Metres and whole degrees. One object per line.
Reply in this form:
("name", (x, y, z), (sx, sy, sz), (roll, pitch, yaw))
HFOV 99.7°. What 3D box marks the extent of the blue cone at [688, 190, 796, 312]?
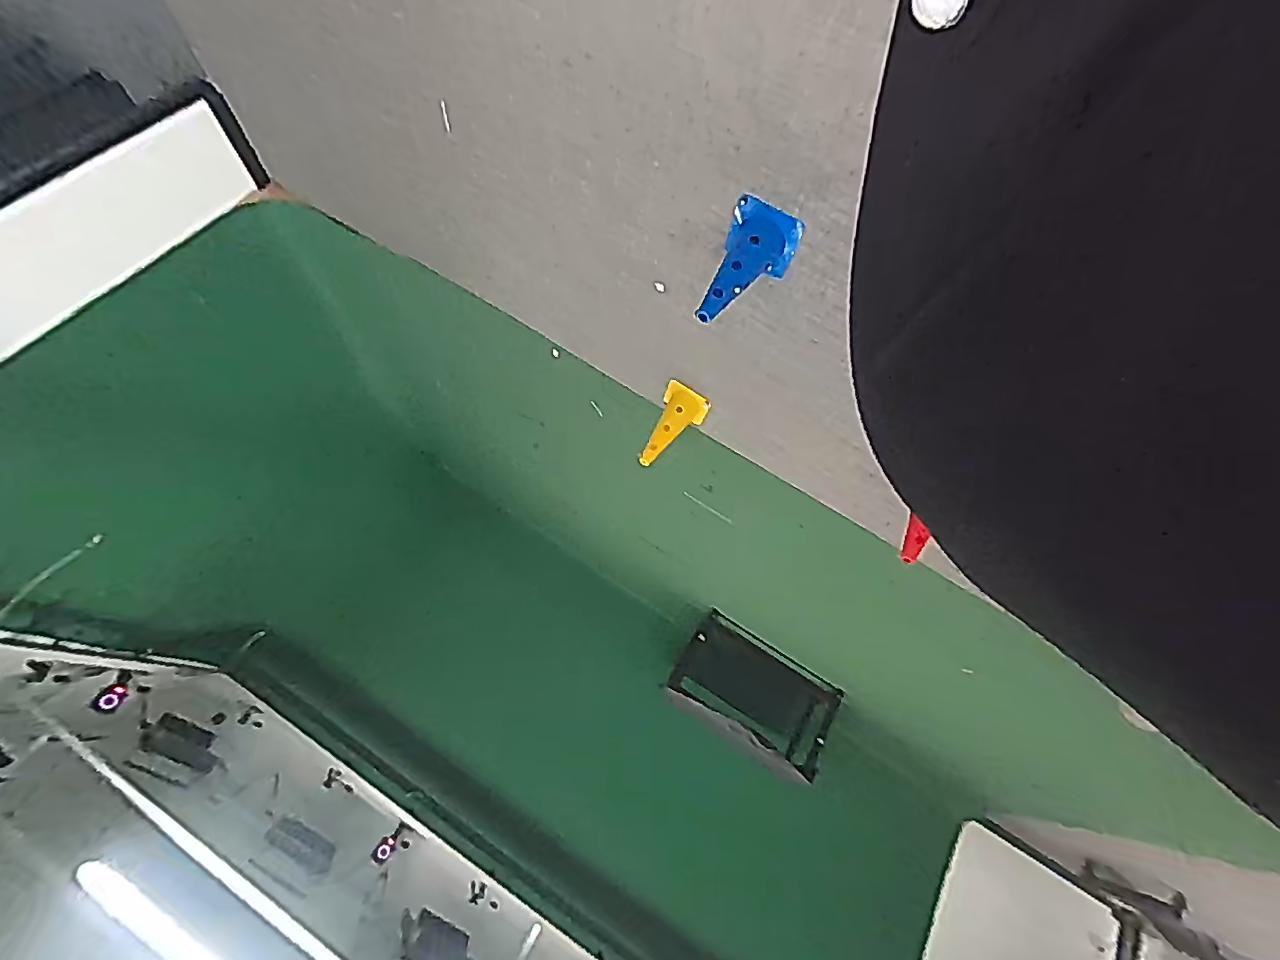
("blue cone", (0.247, -0.577, 1.454), (0.192, 0.380, 0.193), (33, 156, 7))
